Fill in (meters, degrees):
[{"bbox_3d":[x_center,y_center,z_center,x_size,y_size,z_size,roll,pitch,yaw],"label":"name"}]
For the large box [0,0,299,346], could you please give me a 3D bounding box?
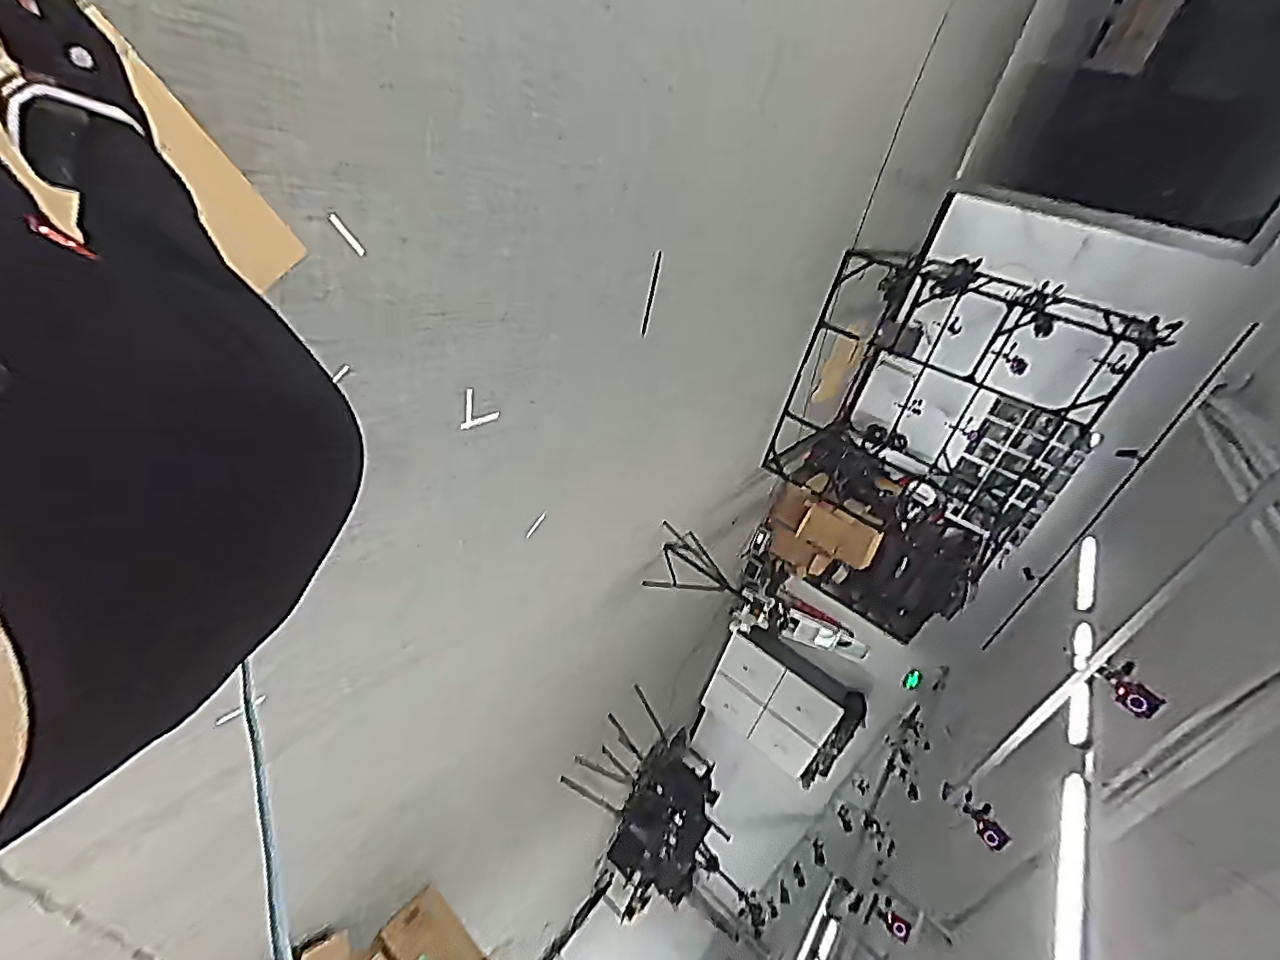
[{"bbox_3d":[-0.912,-0.513,0.918,0.320,0.320,0.408,-51,153,-15],"label":"large box"}]
